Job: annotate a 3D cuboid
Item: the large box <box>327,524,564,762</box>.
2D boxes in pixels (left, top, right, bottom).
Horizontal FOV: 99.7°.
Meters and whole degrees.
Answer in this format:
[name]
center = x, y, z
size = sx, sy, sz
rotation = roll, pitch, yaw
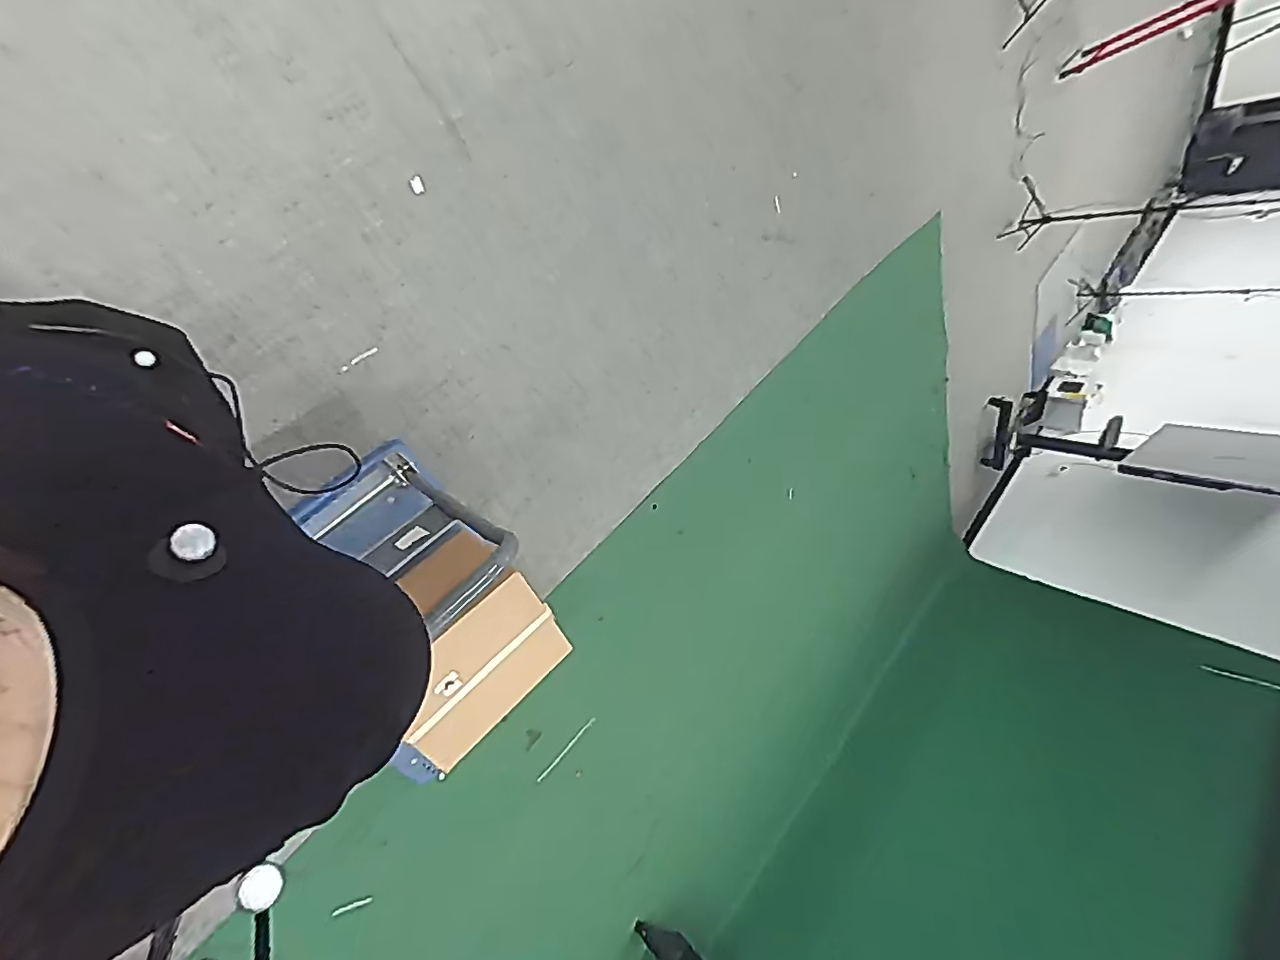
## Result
[large box]
center = -0.476, 0.382, 1.351
size = 0.408, 0.320, 0.320
rotation = -41, 127, -23
